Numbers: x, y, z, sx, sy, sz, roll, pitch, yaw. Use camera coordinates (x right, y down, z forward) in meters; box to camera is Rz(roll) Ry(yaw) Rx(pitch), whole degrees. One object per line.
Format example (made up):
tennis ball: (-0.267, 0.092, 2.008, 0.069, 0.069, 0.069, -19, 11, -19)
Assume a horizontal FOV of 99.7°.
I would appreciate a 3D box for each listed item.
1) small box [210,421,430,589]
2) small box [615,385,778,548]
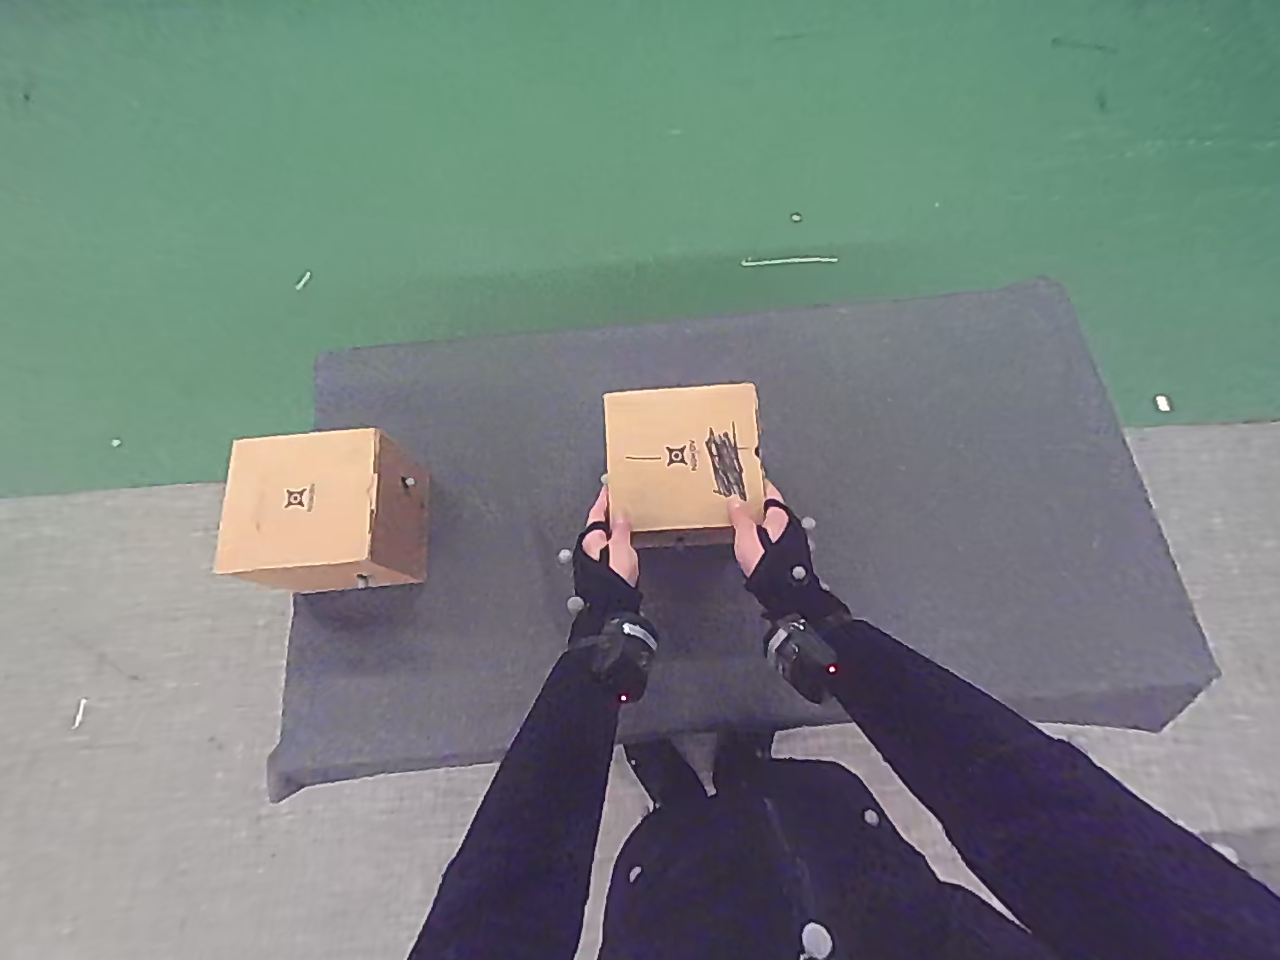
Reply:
small box: (-0.382, 0.039, 0.685, 0.179, 0.176, 0.168, -5, 69, -1)
small box: (0.060, -0.009, 0.671, 0.179, 0.176, 0.168, -2, 76, 1)
